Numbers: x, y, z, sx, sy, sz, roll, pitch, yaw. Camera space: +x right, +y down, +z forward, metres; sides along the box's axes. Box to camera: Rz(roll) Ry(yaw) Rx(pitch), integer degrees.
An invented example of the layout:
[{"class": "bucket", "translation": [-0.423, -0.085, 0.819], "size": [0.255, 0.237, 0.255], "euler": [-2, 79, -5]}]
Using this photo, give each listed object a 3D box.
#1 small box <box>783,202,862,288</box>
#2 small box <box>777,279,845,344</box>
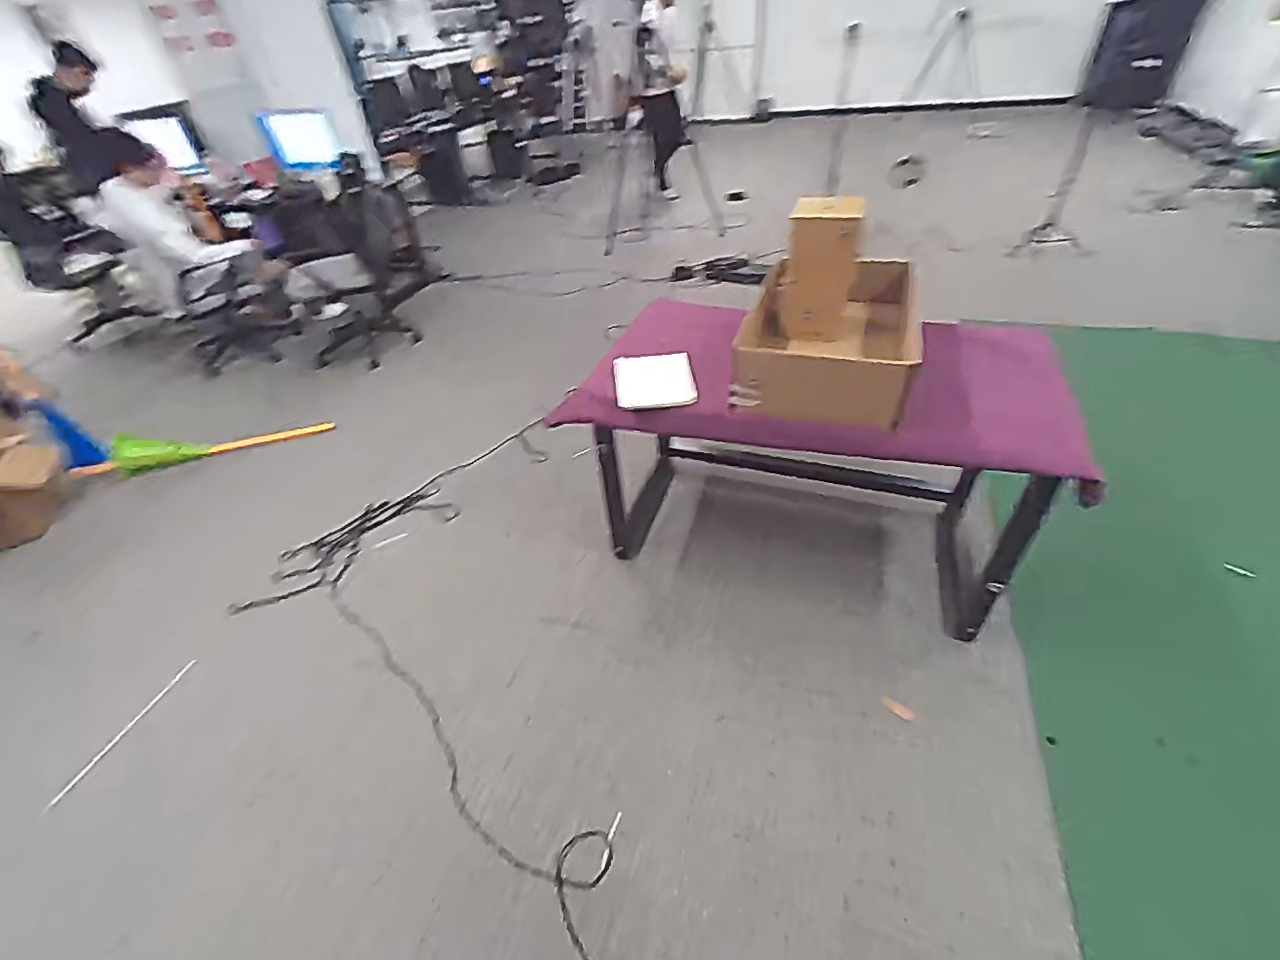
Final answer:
[{"class": "small box", "translation": [0.479, -0.621, 1.430], "size": [0.179, 0.176, 0.168], "euler": [9, 44, 16]}, {"class": "small box", "translation": [0.489, -0.504, 1.540], "size": [0.168, 0.176, 0.179], "euler": [10, 45, 18]}]
